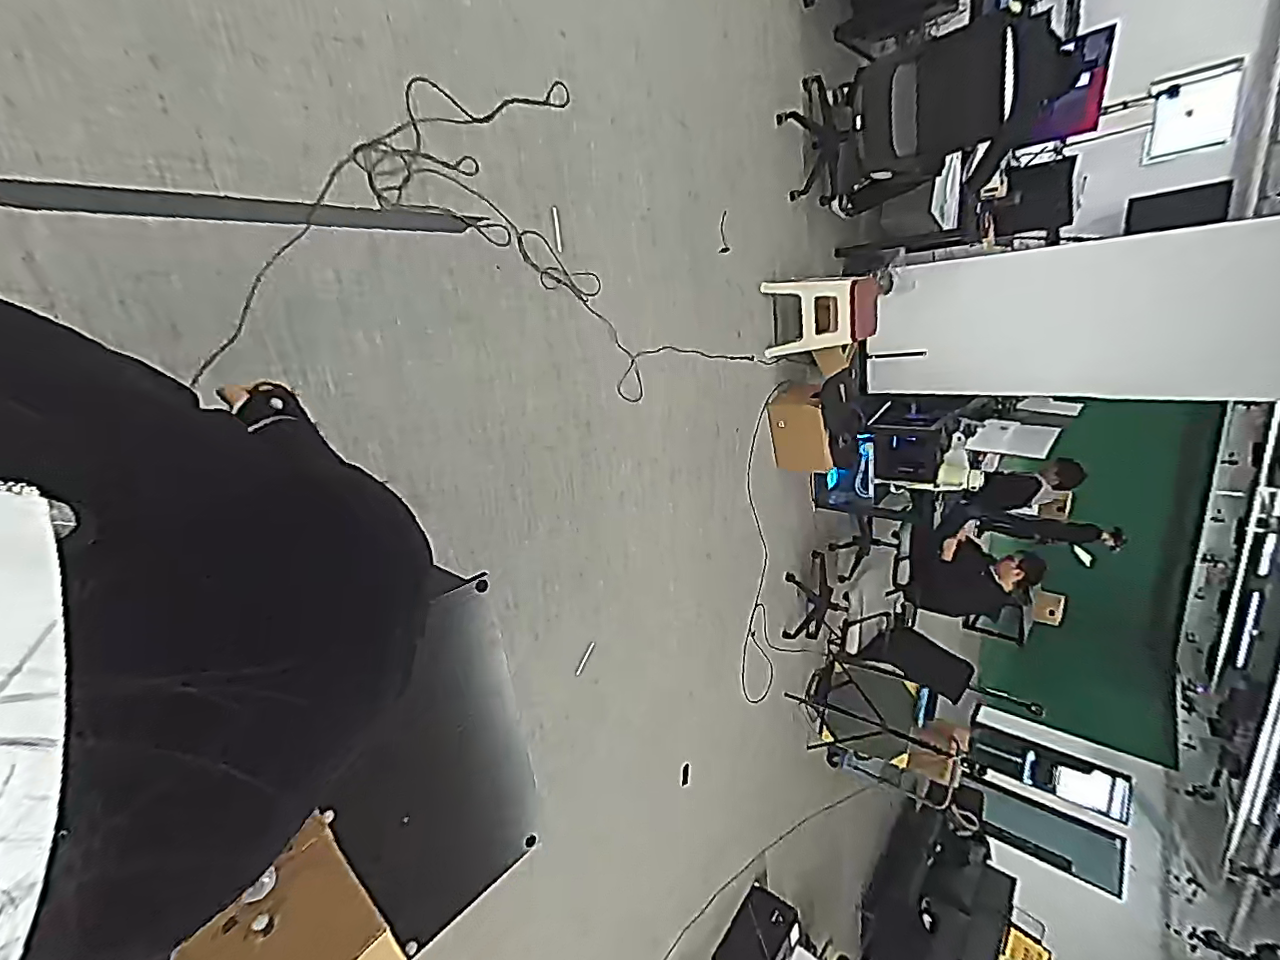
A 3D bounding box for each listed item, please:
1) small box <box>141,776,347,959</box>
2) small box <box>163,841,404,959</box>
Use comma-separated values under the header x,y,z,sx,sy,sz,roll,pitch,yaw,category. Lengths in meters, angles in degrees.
x,y,z,sx,sy,sz,roll,pitch,yaw,category
-0.466,0.501,0.661,0.168,0.176,0.179,-29,117,-42,small box
-0.344,0.524,0.551,0.168,0.176,0.179,-30,118,-41,small box
